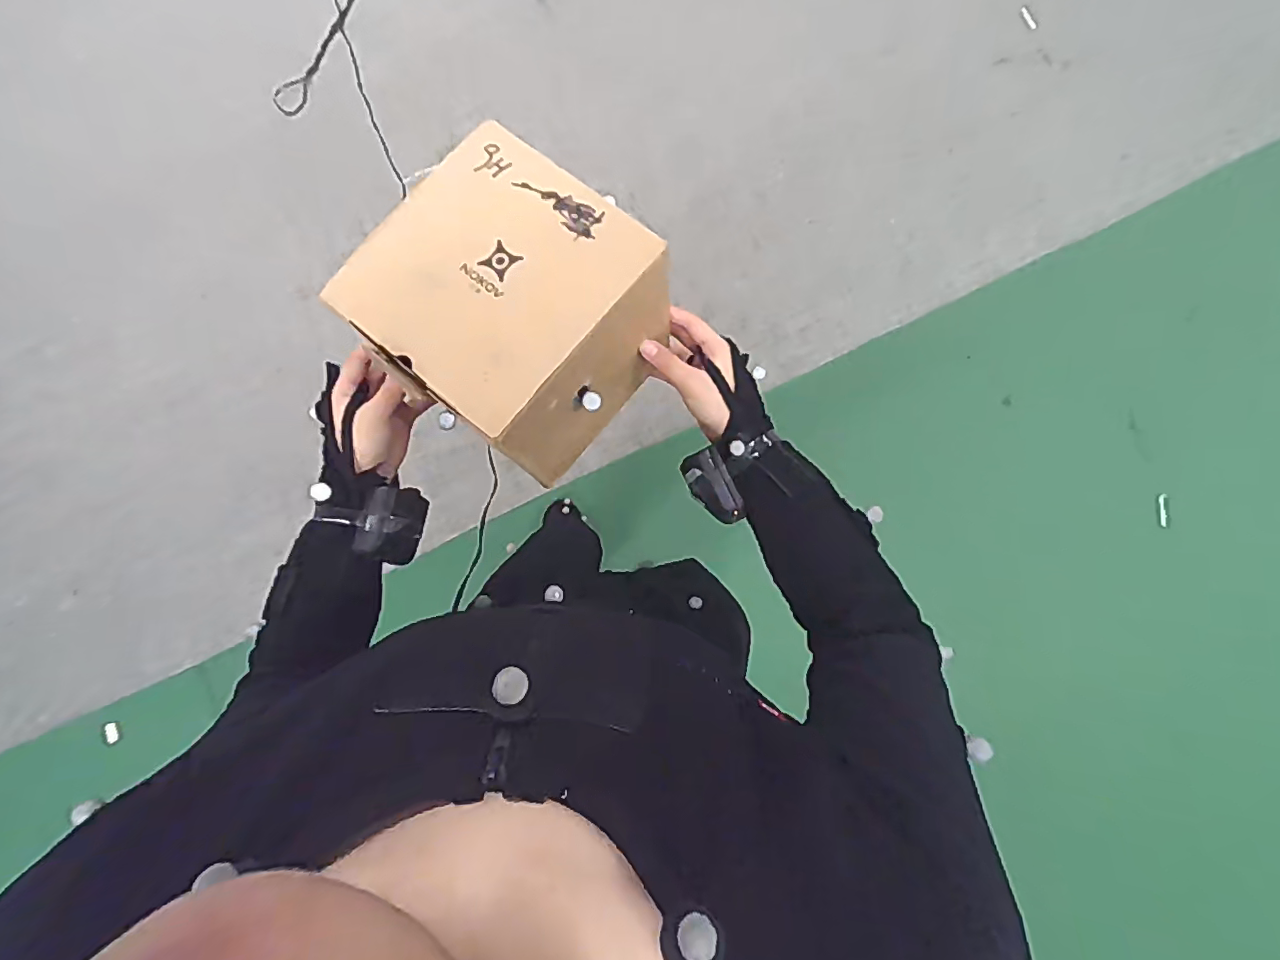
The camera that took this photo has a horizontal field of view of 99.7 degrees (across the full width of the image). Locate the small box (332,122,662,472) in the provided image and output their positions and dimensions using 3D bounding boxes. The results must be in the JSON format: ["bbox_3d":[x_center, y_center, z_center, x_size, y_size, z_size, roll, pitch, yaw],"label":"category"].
[{"bbox_3d":[-0.092,-0.128,0.445,0.168,0.176,0.179,39,84,9],"label":"small box"}]
